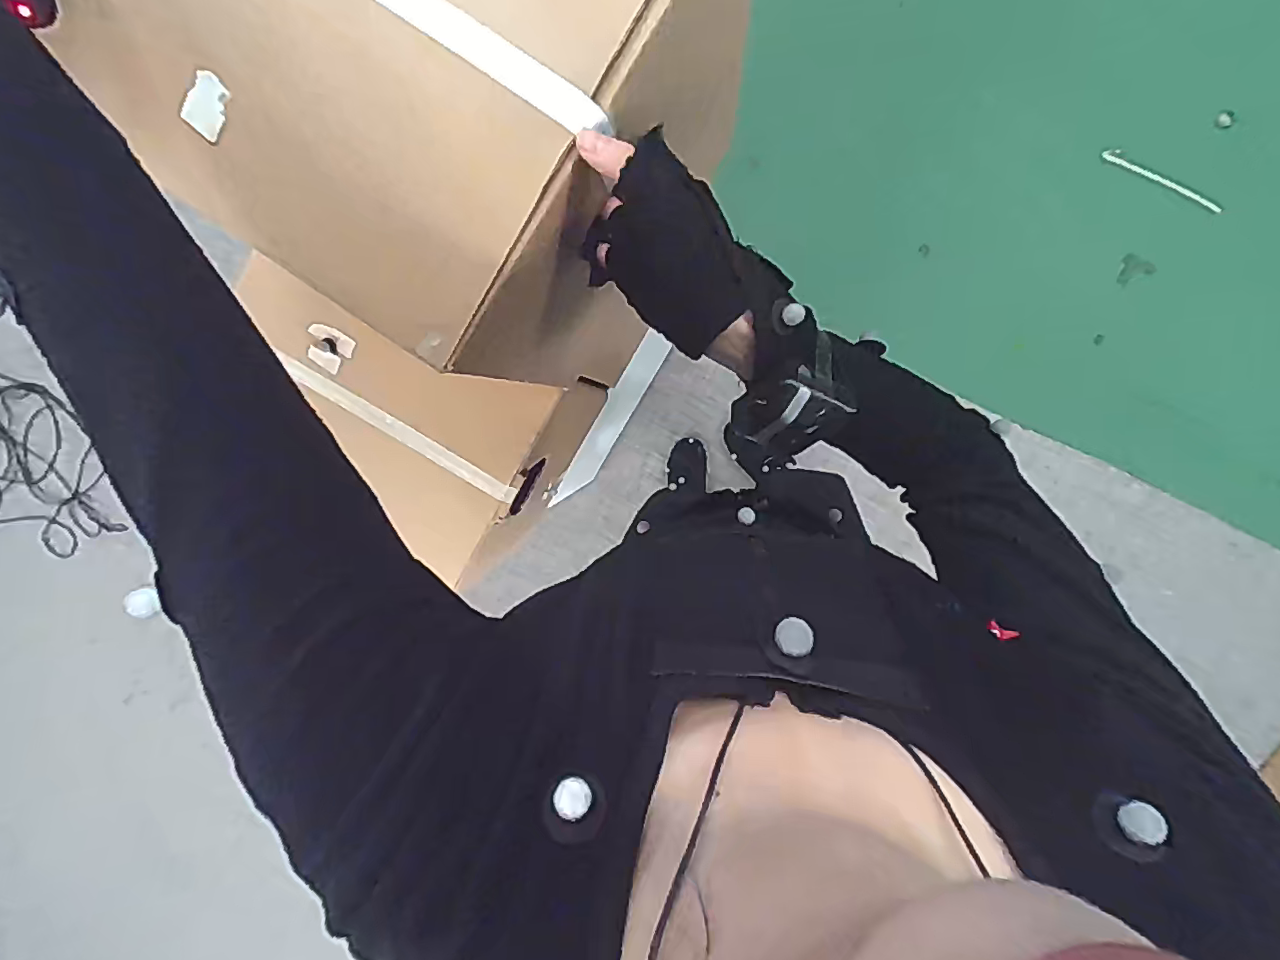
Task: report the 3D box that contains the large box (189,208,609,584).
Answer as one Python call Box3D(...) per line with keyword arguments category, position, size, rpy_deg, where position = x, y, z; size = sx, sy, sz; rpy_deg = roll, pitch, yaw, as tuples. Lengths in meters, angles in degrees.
Box3D(category="large box", position=(-0.309, -0.113, 0.795), size=(0.408, 0.320, 0.320), rpy_deg=(30, 98, 3))
